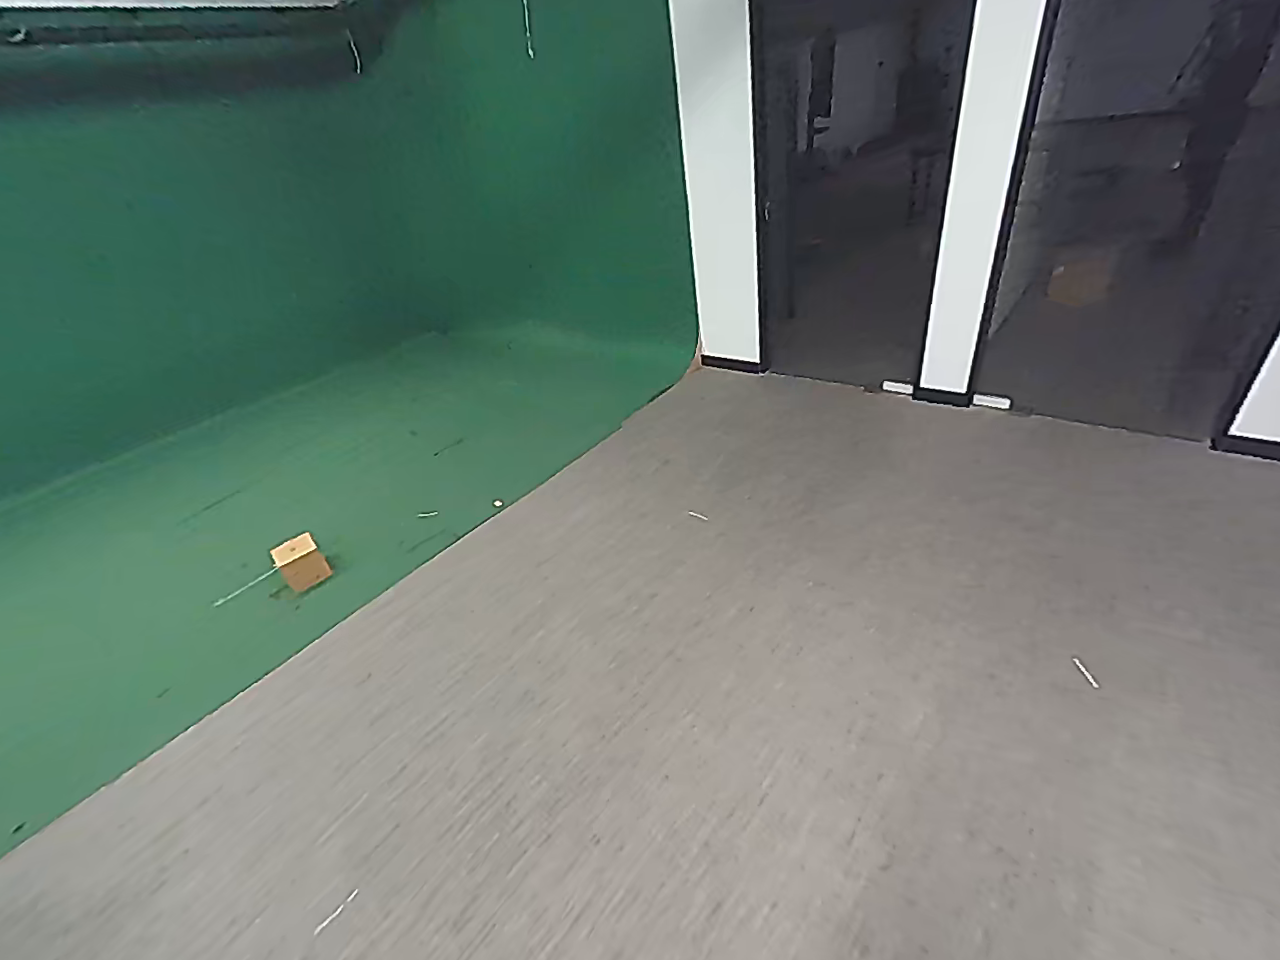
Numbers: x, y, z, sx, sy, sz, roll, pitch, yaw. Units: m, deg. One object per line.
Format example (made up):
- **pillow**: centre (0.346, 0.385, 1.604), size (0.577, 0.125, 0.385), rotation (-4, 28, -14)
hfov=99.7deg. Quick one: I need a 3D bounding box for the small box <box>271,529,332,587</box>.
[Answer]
- **small box**: centre (-1.535, 0.361, 2.457), size (0.168, 0.176, 0.179), rotation (-32, 40, -30)
